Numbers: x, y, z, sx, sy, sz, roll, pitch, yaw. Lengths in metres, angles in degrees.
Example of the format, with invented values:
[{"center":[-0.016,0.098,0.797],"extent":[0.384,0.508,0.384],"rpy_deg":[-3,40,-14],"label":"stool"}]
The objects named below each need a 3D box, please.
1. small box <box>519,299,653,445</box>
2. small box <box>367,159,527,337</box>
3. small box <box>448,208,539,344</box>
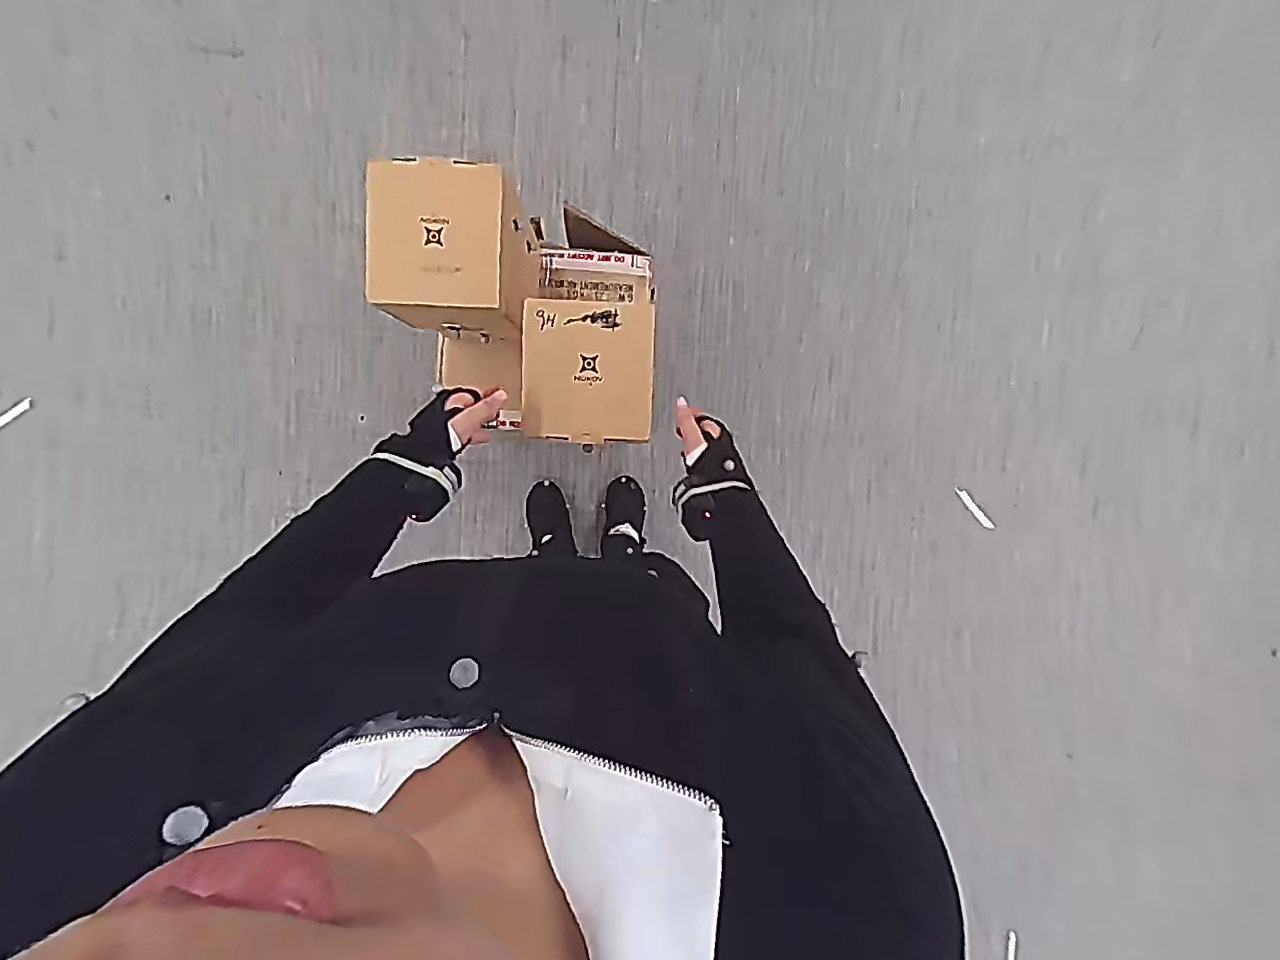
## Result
[{"center":[-0.072,-0.141,0.757],"extent":[0.168,0.176,0.179],"rpy_deg":[2,94,-4],"label":"small box"},{"center":[-0.252,-0.304,0.740],"extent":[0.168,0.176,0.179],"rpy_deg":[2,94,-1],"label":"small box"},{"center":[-0.264,-0.335,0.901],"extent":[0.168,0.176,0.179],"rpy_deg":[2,94,-2],"label":"small box"}]
